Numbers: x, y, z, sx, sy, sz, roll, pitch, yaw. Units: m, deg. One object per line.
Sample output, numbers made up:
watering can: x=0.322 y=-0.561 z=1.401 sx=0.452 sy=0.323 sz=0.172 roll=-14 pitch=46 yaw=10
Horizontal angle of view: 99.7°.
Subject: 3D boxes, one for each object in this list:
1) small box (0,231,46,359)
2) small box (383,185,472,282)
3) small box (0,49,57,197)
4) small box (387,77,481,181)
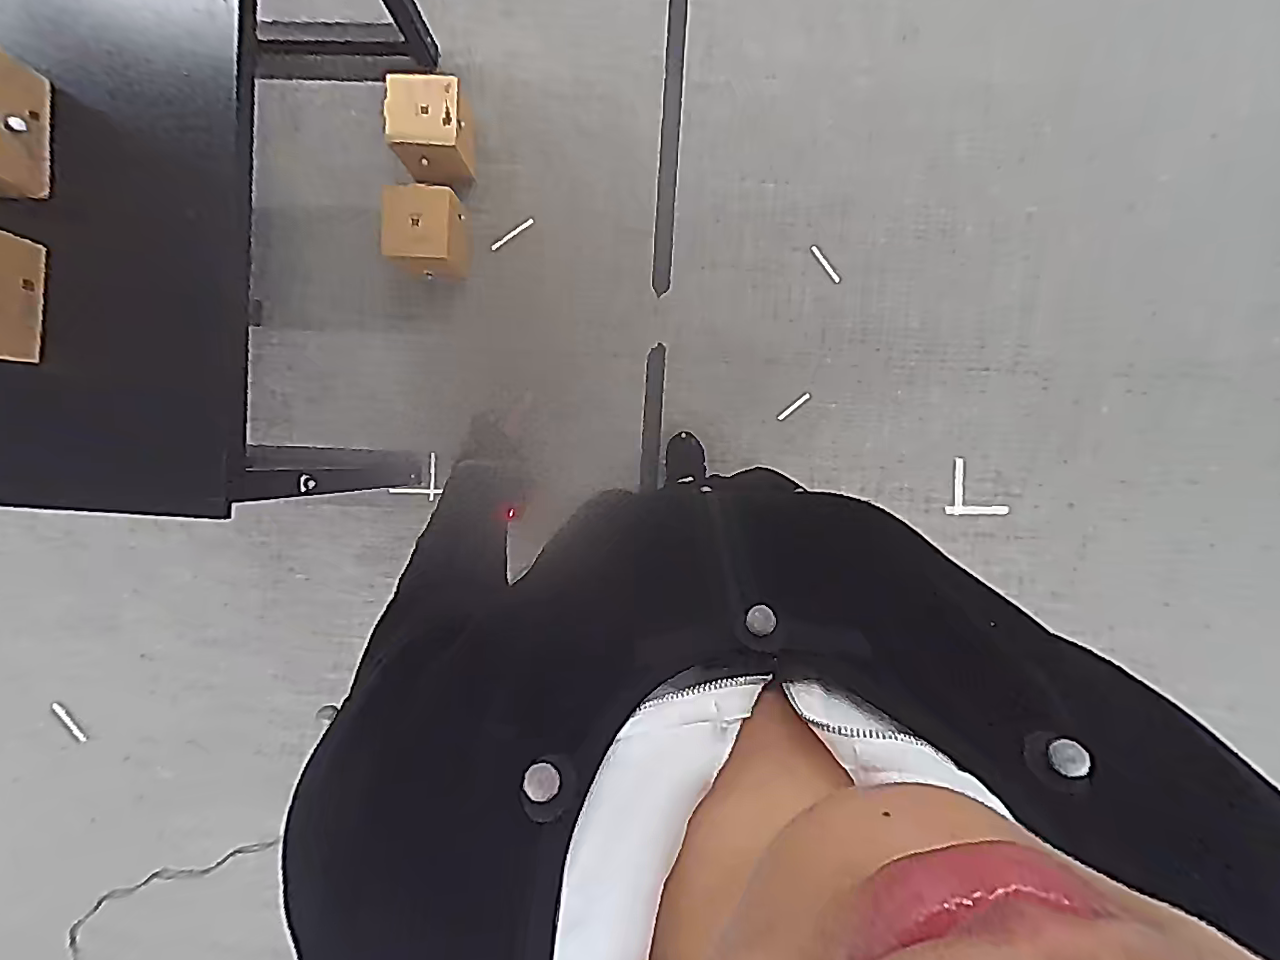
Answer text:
small box: x=-0.929 y=-0.256 z=0.689 sx=0.179 sy=0.176 sz=0.168 roll=6 pitch=91 yaw=1
small box: x=-0.544 y=-0.634 z=1.404 sx=0.168 sy=0.176 sz=0.179 roll=3 pitch=93 yaw=1
small box: x=-0.913 y=-0.480 z=0.682 sx=0.179 sy=0.176 sz=0.168 roll=3 pitch=92 yaw=0
small box: x=-0.526 y=-0.896 z=1.393 sx=0.179 sy=0.176 sz=0.168 roll=2 pitch=93 yaw=1
